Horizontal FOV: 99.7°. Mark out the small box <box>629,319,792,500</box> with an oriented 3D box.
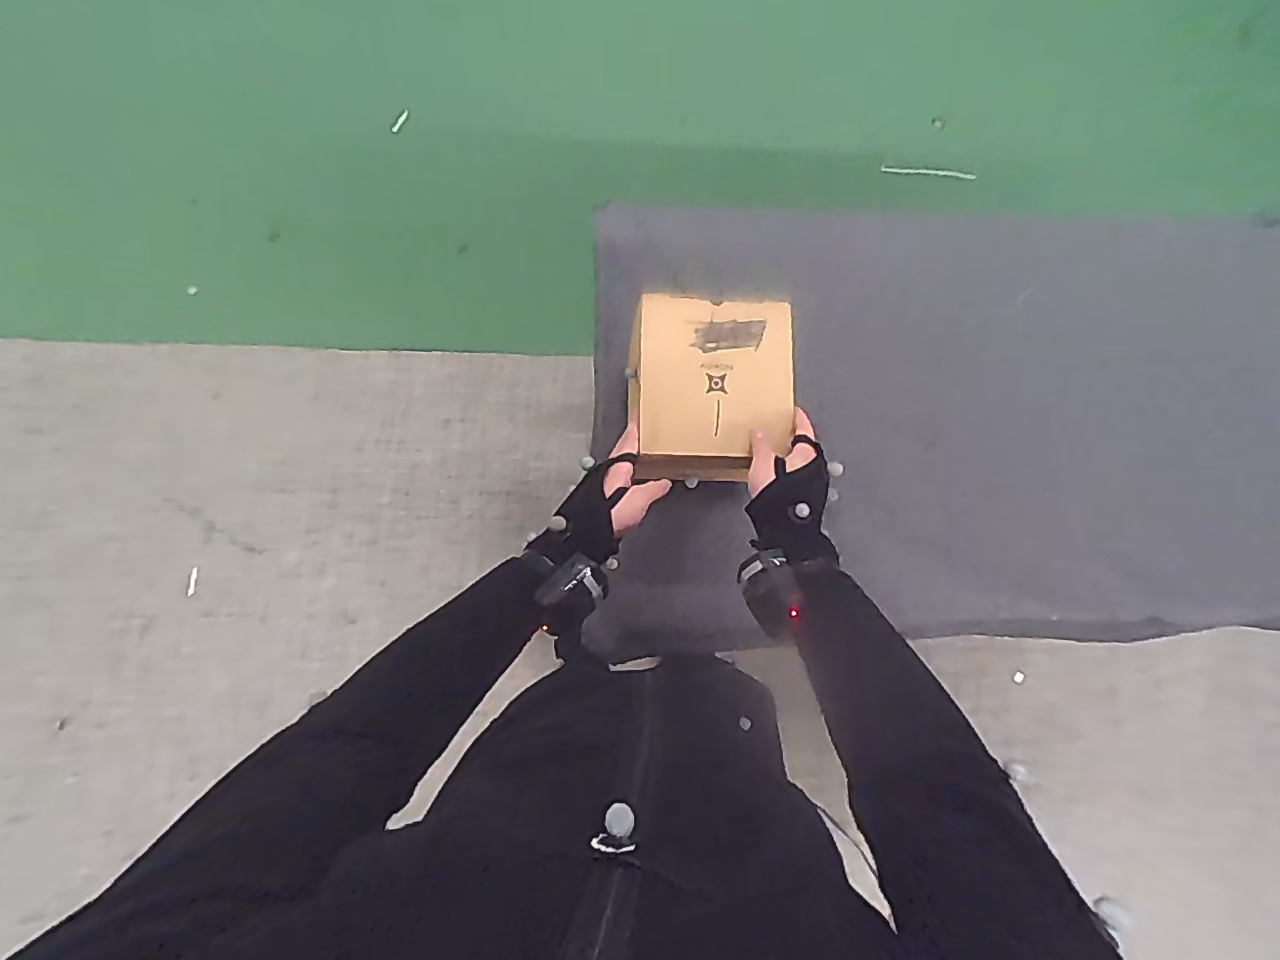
[{"bbox_3d":[0.074,-0.075,0.659,0.168,0.176,0.179,1,81,-5],"label":"small box"}]
